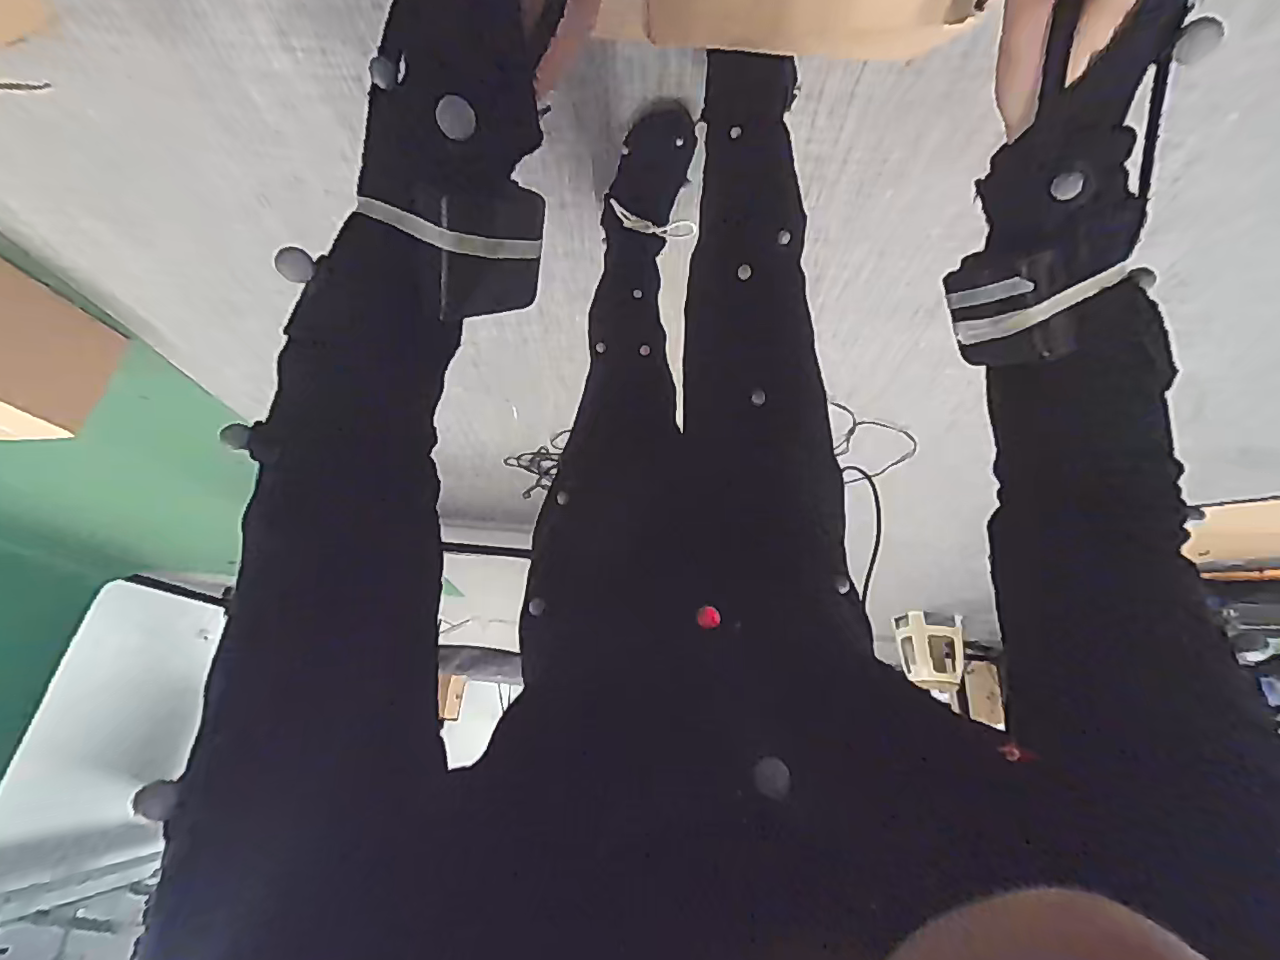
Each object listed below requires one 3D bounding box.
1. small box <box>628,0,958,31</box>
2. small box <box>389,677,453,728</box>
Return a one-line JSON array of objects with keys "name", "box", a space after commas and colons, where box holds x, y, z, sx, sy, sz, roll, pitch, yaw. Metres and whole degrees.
[{"name": "small box", "box": [0.076, -0.346, 0.235, 0.179, 0.176, 0.168, -4, 164, 1]}, {"name": "small box", "box": [-0.835, 0.859, 2.089, 0.179, 0.176, 0.168, 5, 155, 1]}]
